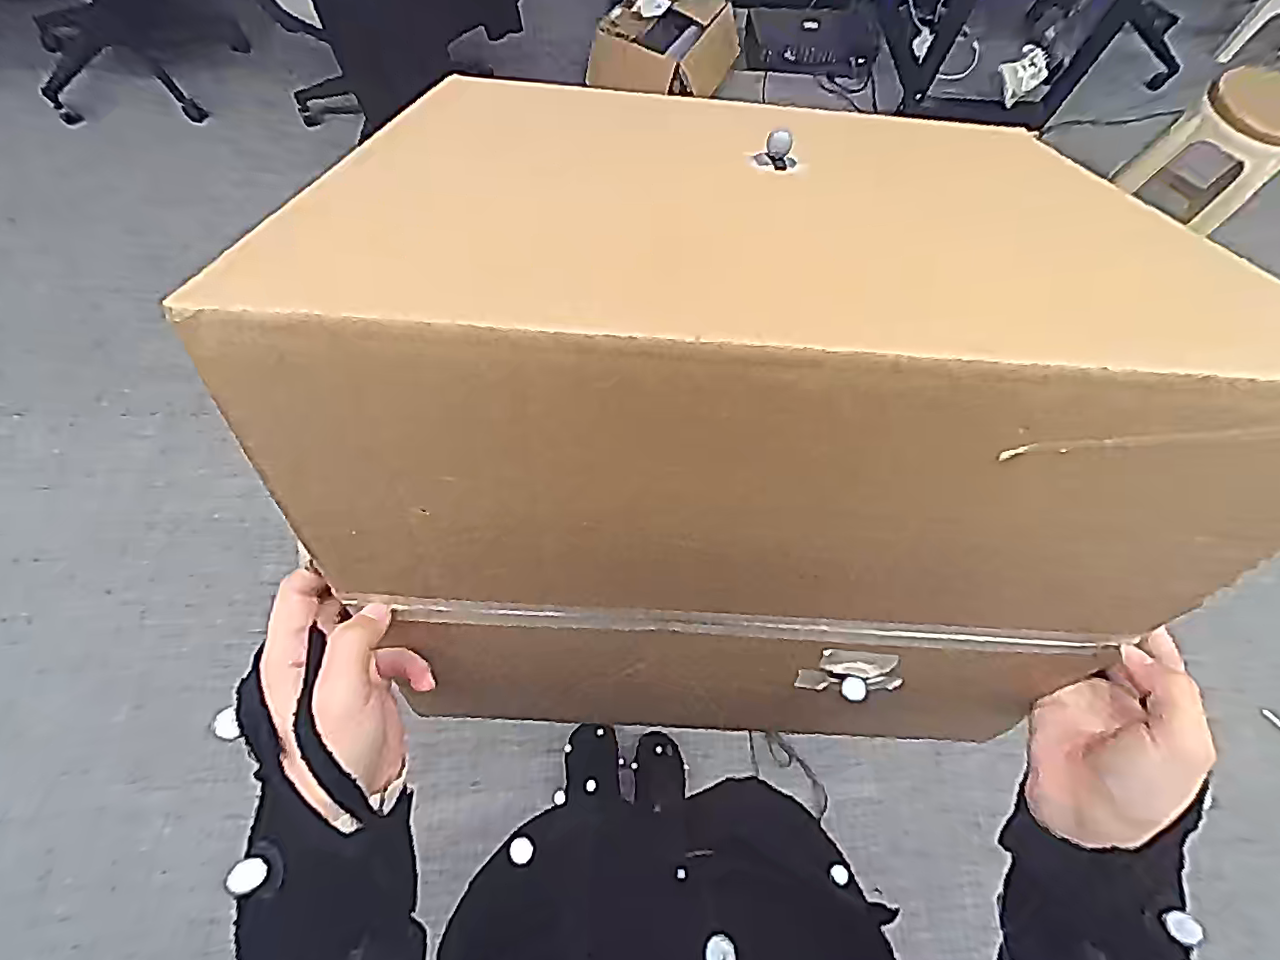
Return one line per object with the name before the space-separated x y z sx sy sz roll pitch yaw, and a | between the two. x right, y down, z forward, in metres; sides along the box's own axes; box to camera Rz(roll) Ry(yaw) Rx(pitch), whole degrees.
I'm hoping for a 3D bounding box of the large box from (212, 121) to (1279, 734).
large box | 0.051 -0.035 0.386 0.408 0.320 0.320 3 47 -2
